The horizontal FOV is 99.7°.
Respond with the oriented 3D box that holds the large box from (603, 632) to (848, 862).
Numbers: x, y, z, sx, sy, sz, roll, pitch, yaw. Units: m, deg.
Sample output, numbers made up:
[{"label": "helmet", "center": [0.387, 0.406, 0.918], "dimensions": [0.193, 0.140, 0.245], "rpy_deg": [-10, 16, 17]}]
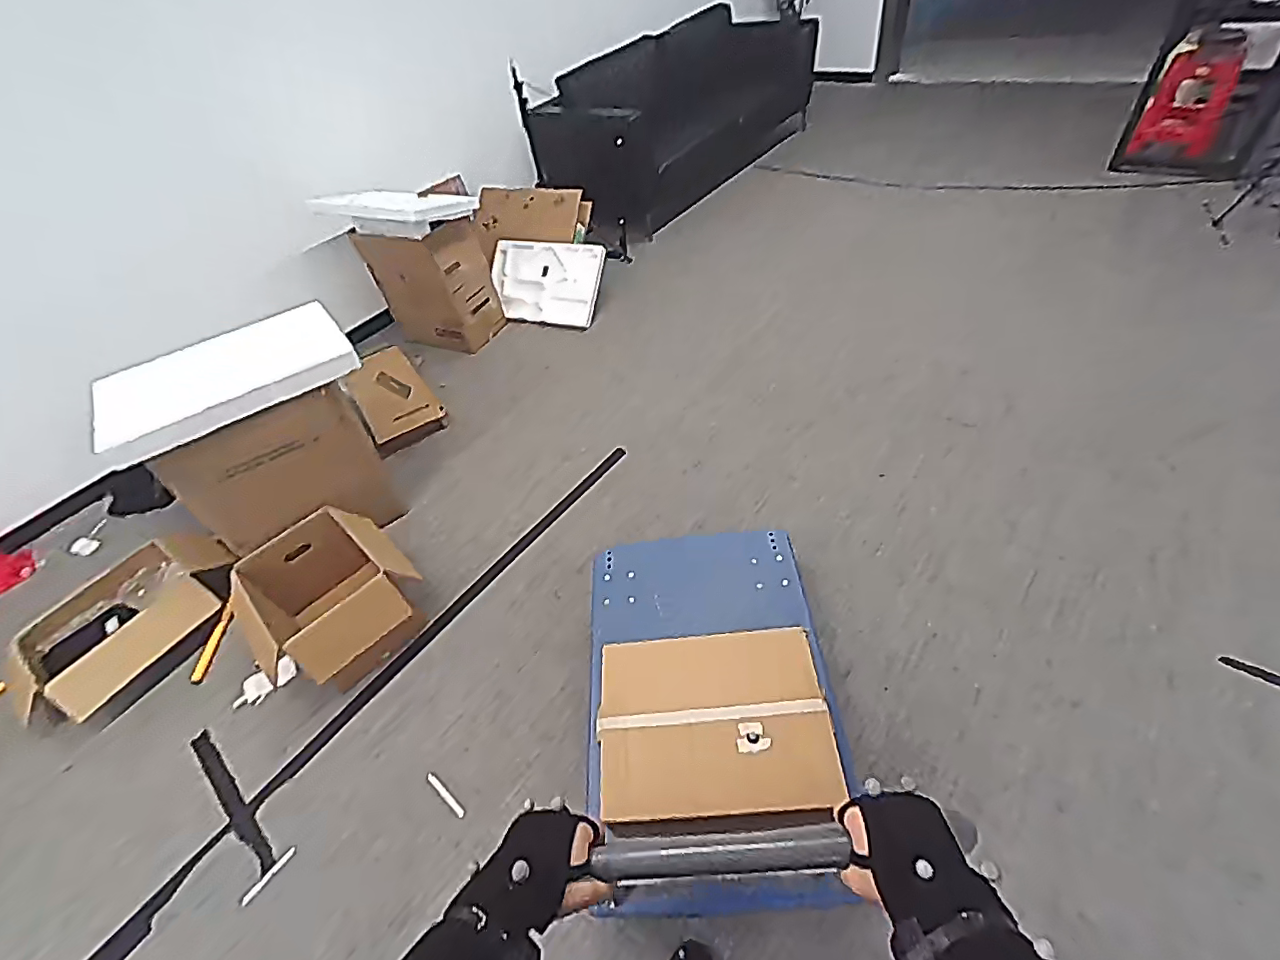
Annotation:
[{"label": "large box", "center": [0.147, 0.536, 1.078], "dimensions": [0.408, 0.320, 0.320], "rpy_deg": [-7, 46, 3]}]
